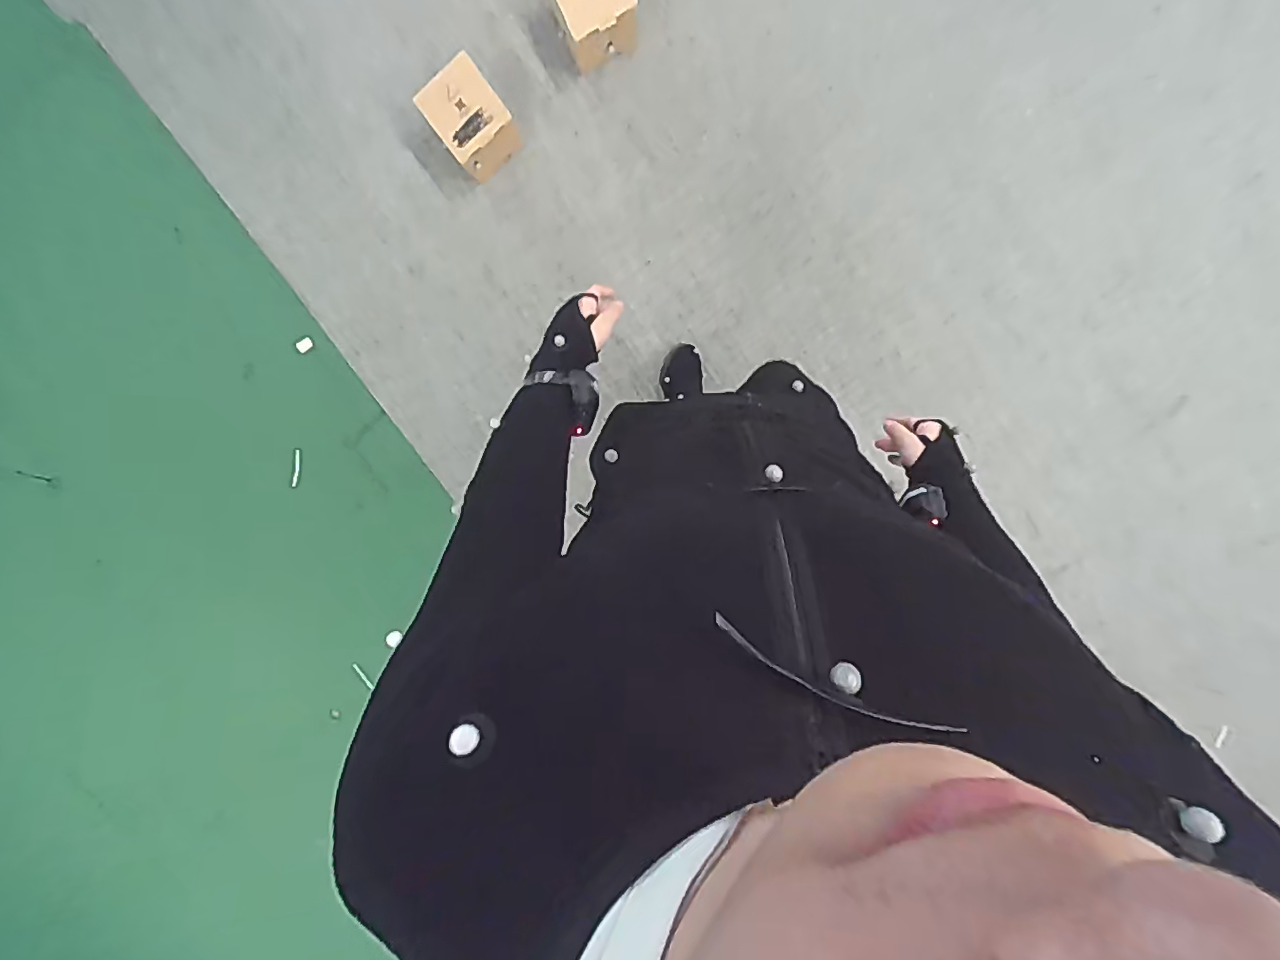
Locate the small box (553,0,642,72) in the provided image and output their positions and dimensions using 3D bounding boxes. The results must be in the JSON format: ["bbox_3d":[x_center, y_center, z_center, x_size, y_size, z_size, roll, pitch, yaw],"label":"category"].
[{"bbox_3d":[-0.101,-1.110,1.275,0.168,0.176,0.179,-26,103,6],"label":"small box"}]
